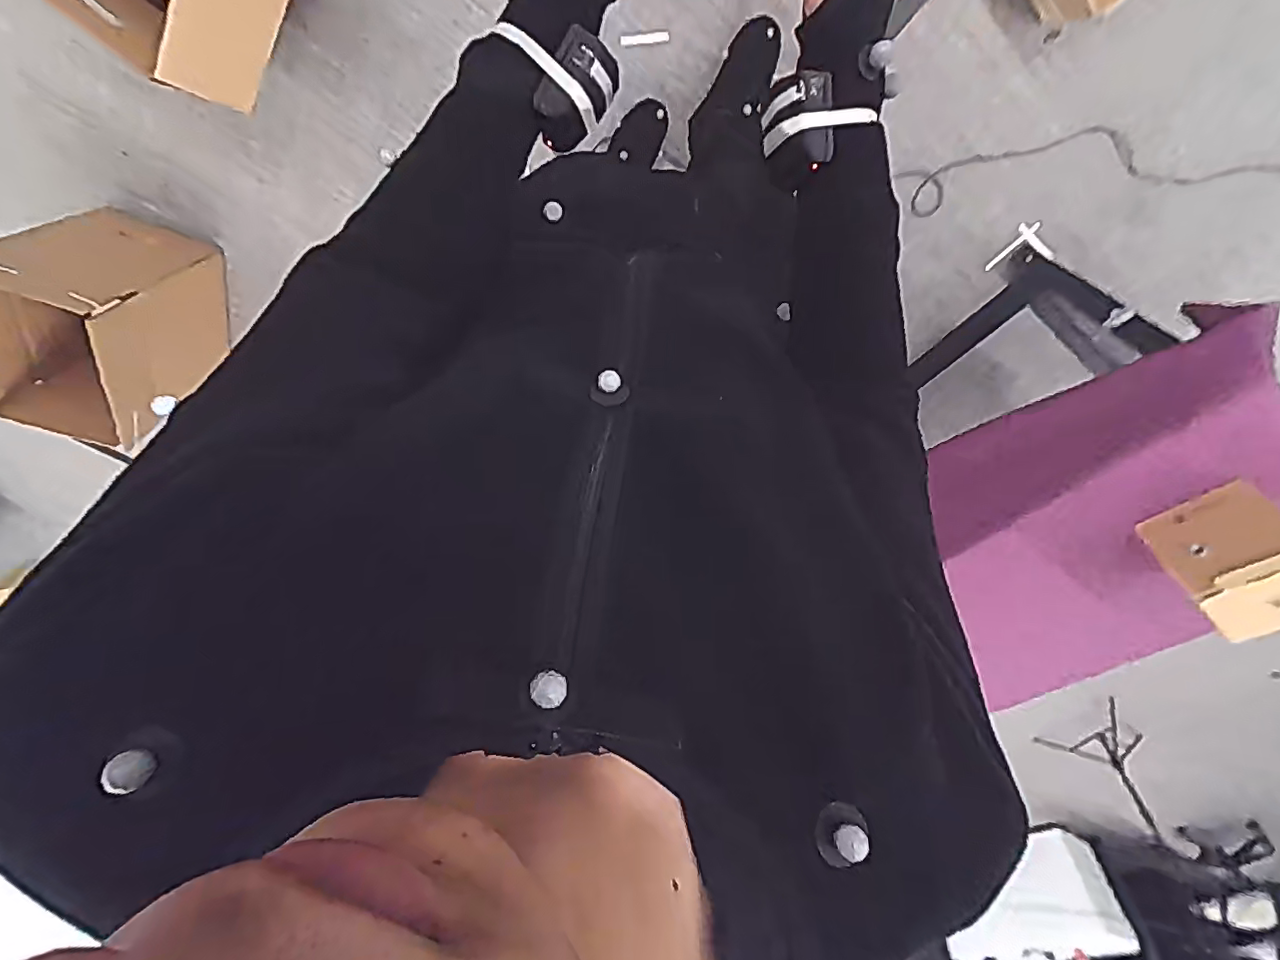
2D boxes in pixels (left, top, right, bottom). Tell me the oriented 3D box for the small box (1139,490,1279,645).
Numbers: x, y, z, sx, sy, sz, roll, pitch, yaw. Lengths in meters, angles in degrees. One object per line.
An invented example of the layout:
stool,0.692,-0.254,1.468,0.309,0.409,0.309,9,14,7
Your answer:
small box,1.007,0.141,0.912,0.179,0.176,0.168,36,125,-23
